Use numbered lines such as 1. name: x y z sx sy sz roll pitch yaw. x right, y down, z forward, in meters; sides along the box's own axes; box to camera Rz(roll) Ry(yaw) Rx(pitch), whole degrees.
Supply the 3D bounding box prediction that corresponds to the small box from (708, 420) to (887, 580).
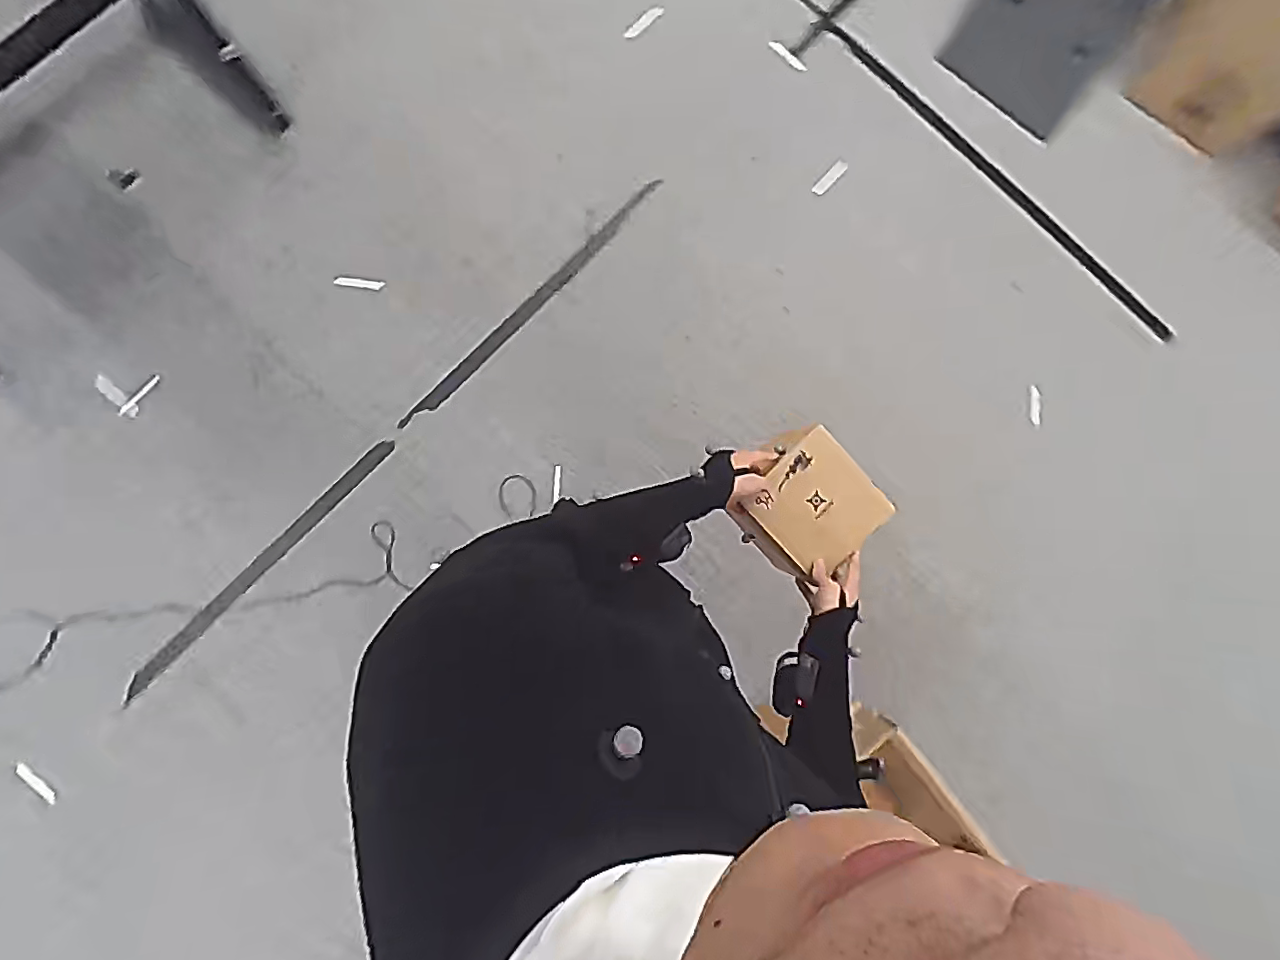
1. small box: 0.236 0.025 0.851 0.168 0.176 0.179 -43 96 -4
